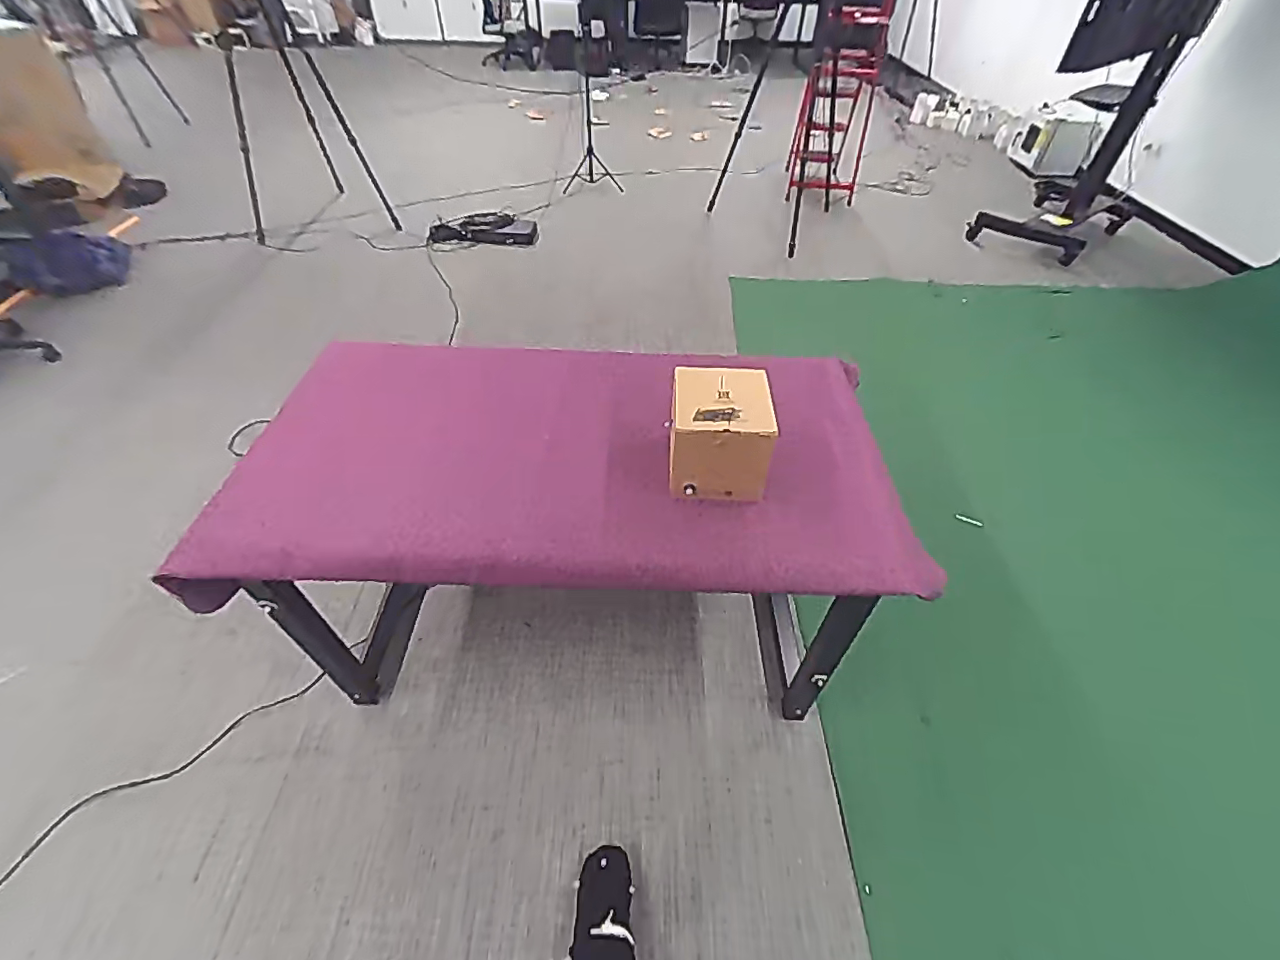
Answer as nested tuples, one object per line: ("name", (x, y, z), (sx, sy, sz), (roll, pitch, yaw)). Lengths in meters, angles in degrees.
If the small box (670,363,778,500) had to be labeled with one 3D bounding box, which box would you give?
("small box", (0.144, -0.083, 0.966), (0.168, 0.176, 0.179), (6, 48, 2))
